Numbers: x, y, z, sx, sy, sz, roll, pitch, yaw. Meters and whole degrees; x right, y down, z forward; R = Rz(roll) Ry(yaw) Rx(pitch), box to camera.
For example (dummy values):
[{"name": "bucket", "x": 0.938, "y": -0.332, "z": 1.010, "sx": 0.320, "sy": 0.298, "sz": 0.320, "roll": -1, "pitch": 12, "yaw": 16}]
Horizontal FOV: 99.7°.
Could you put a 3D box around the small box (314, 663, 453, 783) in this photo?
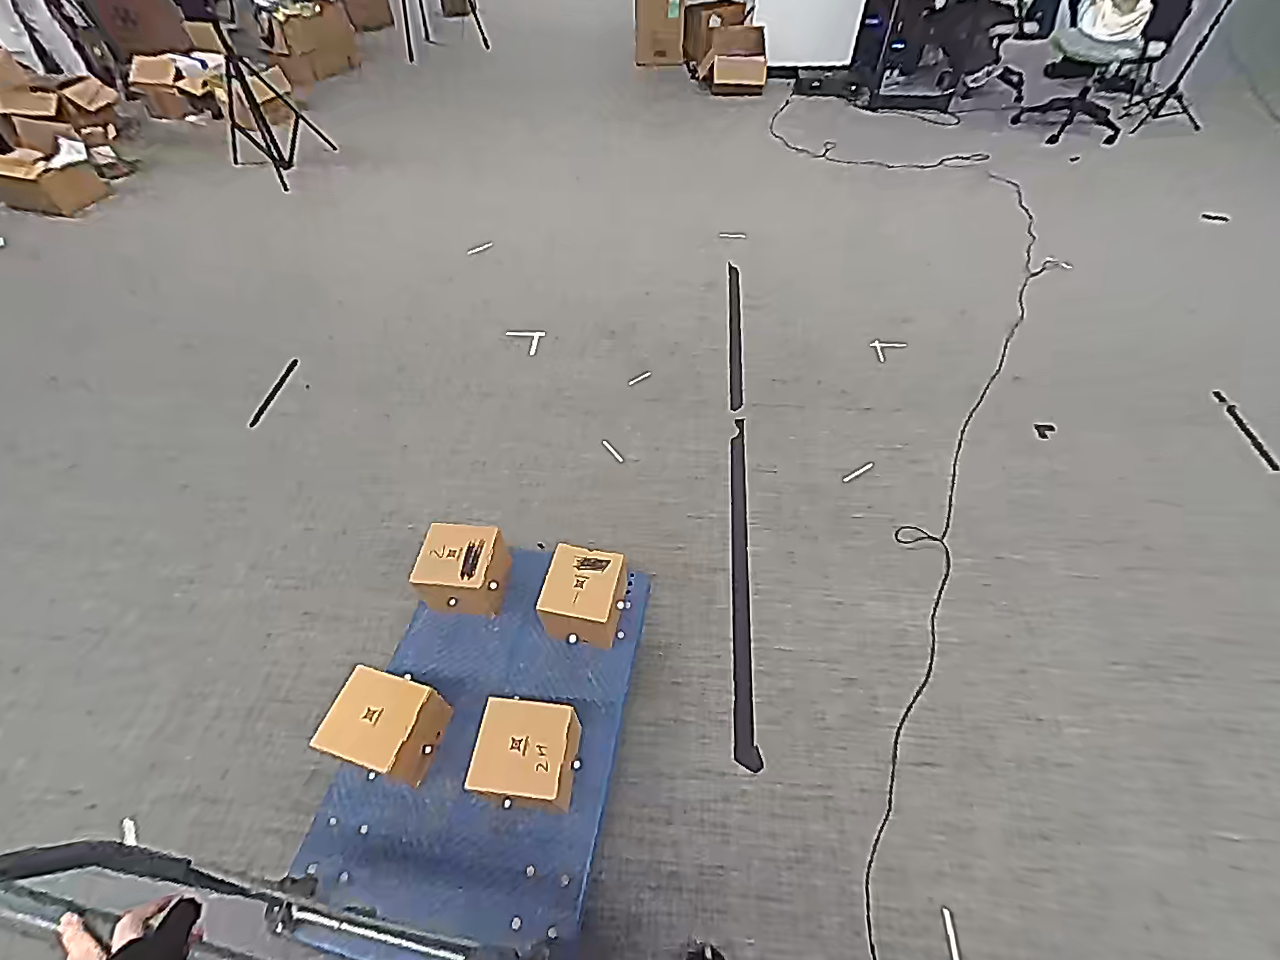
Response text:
[{"name": "small box", "x": -0.524, "y": 0.513, "z": 1.134, "sx": 0.179, "sy": 0.176, "sz": 0.168, "roll": 14, "pitch": 53, "yaw": 10}]

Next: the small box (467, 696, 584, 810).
[{"name": "small box", "x": -0.221, "y": 0.555, "z": 1.093, "sx": 0.179, "sy": 0.176, "sz": 0.168, "roll": 5, "pitch": 53, "yaw": 6}]

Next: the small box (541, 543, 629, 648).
[{"name": "small box", "x": -0.124, "y": 0.281, "z": 1.304, "sx": 0.168, "sy": 0.176, "sz": 0.179, "roll": 10, "pitch": 54, "yaw": 9}]
